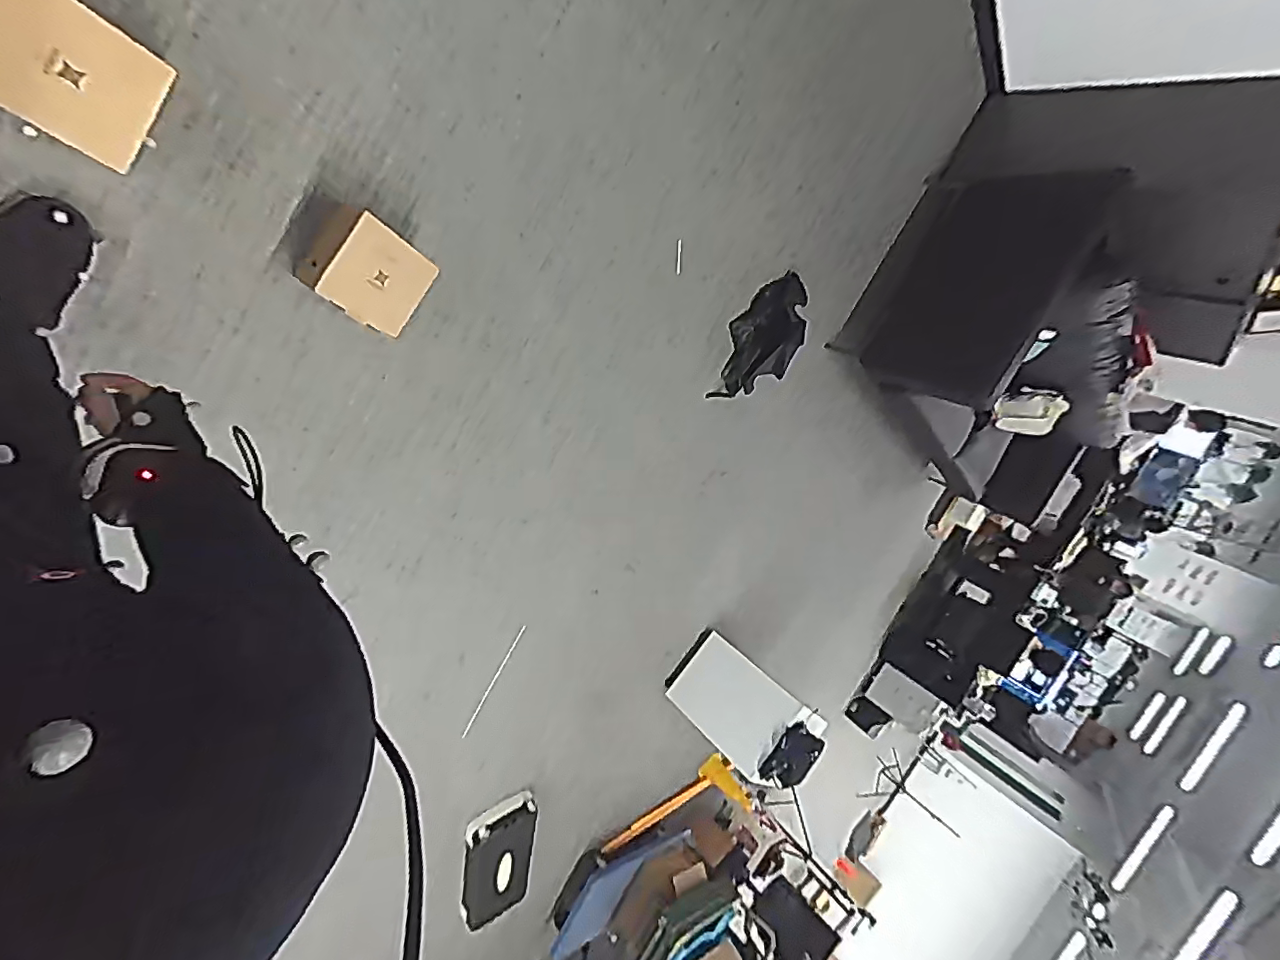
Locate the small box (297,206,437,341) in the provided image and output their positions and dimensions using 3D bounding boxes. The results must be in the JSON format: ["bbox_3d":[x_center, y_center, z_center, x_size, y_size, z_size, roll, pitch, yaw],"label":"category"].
[{"bbox_3d":[-0.544,-0.409,1.067,0.168,0.176,0.179,32,90,-51],"label":"small box"}]

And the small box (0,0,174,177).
[{"bbox_3d":[-0.786,-0.552,0.741,0.179,0.176,0.168,26,95,-49],"label":"small box"}]
